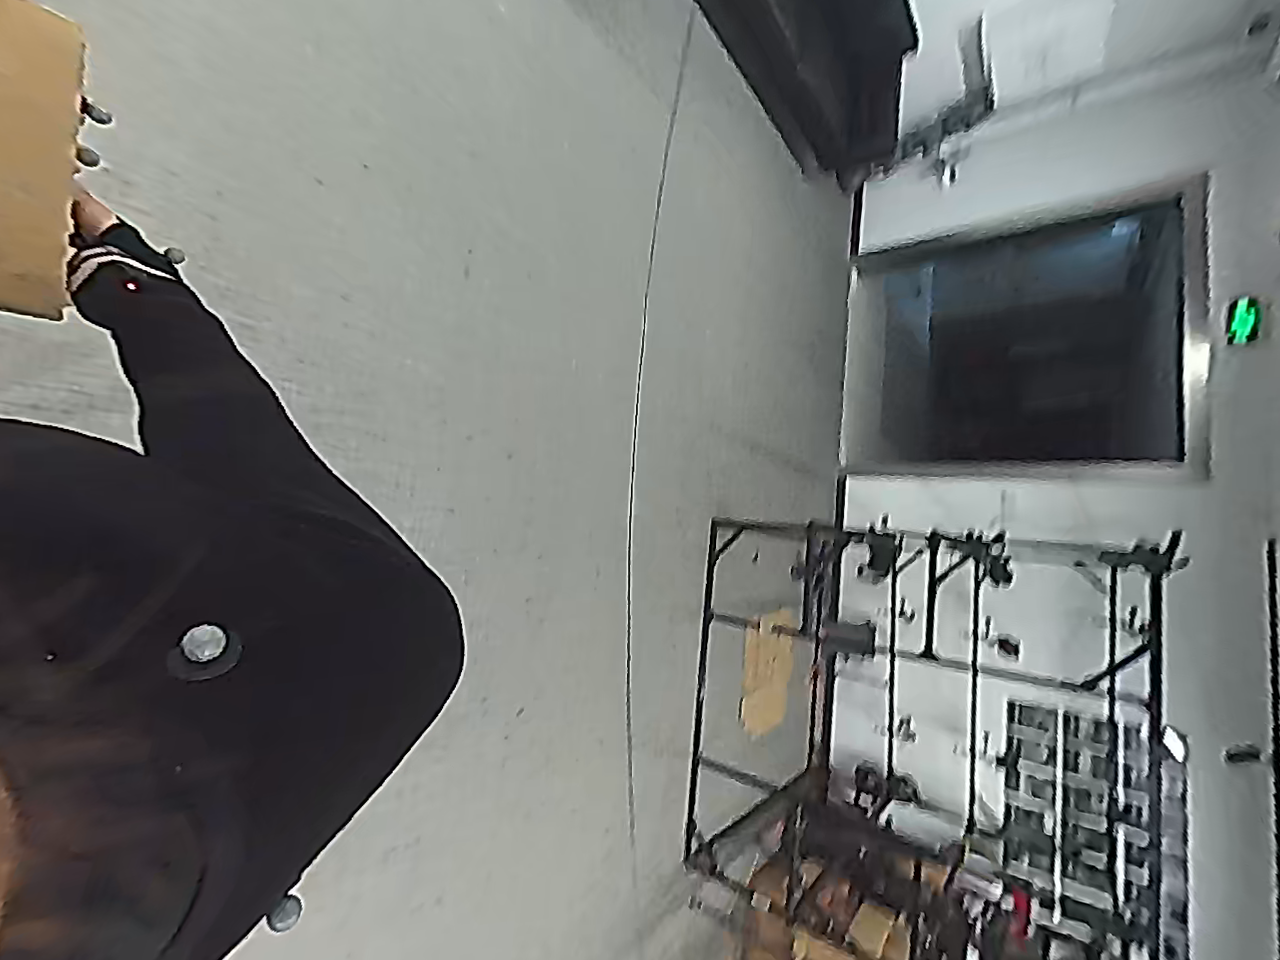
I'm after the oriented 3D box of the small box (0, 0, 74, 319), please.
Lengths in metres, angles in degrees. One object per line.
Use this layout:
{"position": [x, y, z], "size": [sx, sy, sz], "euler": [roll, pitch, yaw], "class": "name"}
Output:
{"position": [-0.457, -0.210, 0.318], "size": [0.168, 0.176, 0.179], "euler": [3, 105, -48], "class": "small box"}
